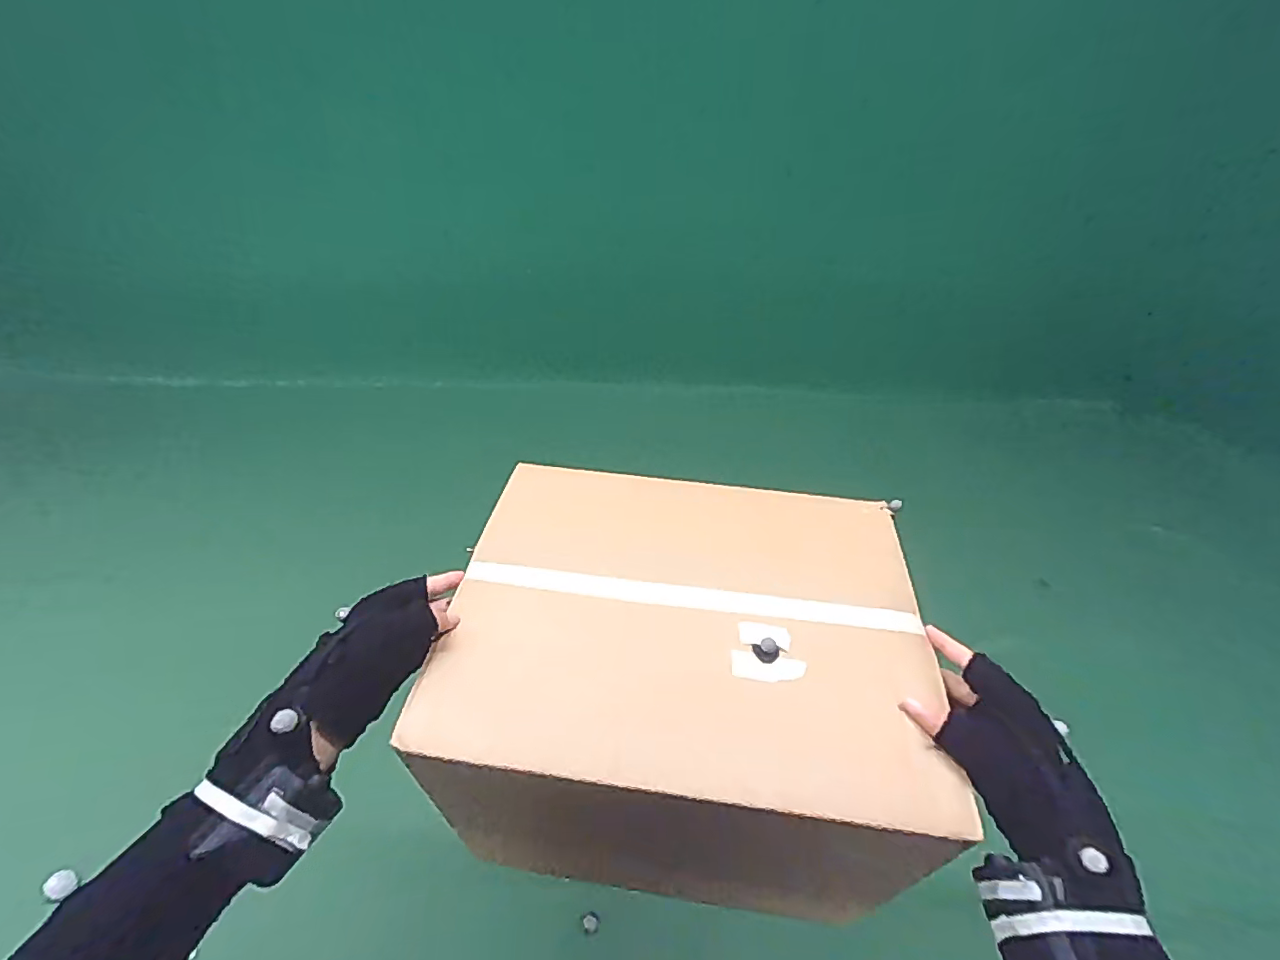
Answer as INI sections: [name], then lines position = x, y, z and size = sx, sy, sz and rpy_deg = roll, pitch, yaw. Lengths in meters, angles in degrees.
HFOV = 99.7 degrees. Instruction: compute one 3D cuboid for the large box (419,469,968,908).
[large box]
position = 0.043, 0.219, 0.592
size = 0.408, 0.320, 0.320
rpy_deg = 7, 43, 4
